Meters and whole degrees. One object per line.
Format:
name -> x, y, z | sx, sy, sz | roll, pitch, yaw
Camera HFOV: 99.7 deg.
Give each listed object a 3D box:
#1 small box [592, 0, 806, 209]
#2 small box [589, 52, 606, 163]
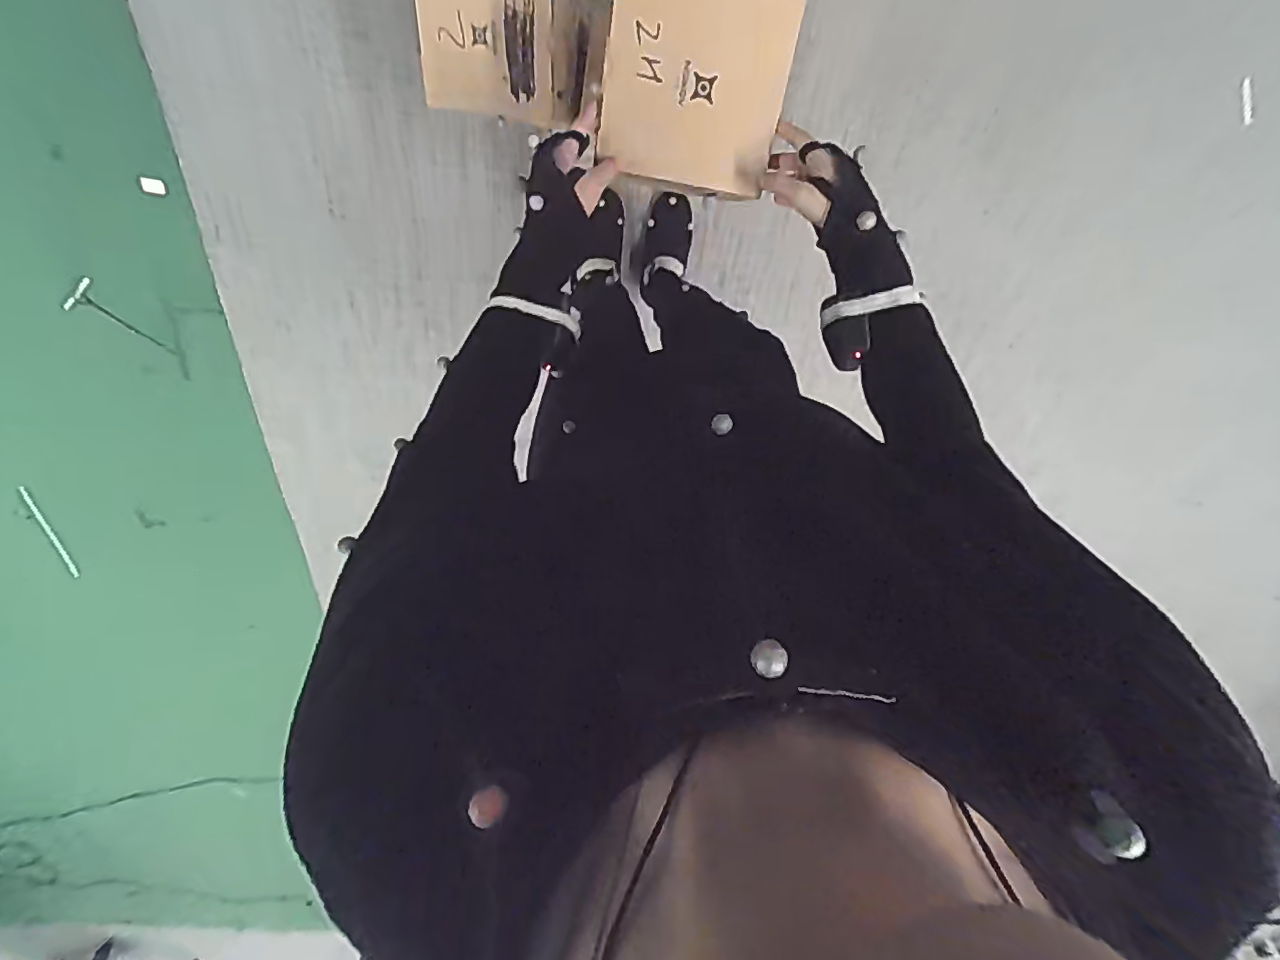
small box -> 0.048, -0.398, 0.580 | 0.179, 0.176, 0.168 | 8, 116, -6
small box -> -0.013, -0.731, 1.085 | 0.168, 0.176, 0.179 | 5, 123, -3
